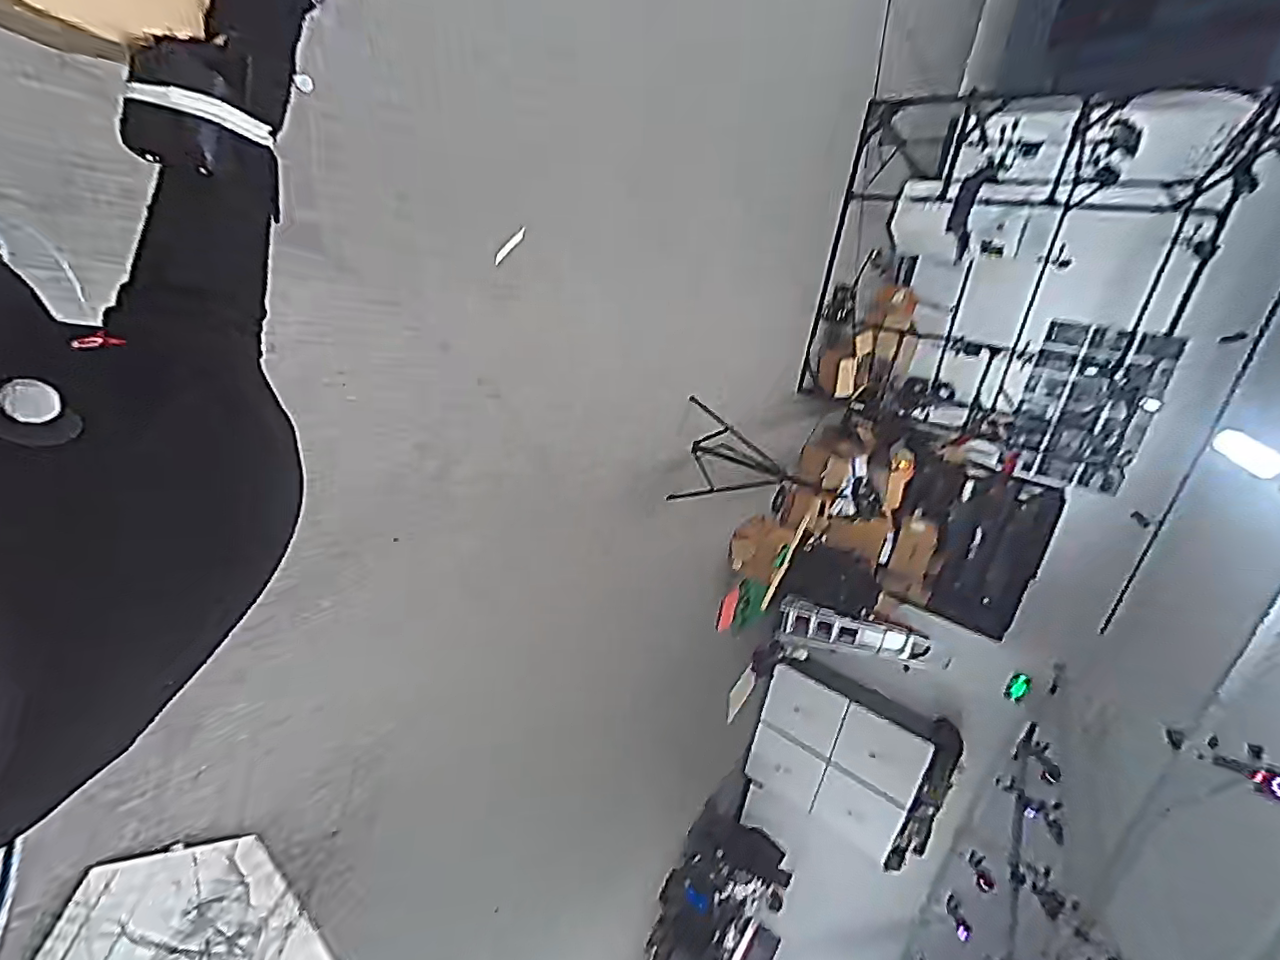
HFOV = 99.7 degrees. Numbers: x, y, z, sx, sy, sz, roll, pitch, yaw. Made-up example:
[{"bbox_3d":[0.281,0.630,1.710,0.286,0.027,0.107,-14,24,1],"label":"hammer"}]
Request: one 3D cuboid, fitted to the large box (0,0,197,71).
[{"bbox_3d":[-0.489,-0.463,0.233,0.408,0.320,0.320,-9,124,-58],"label":"large box"}]
